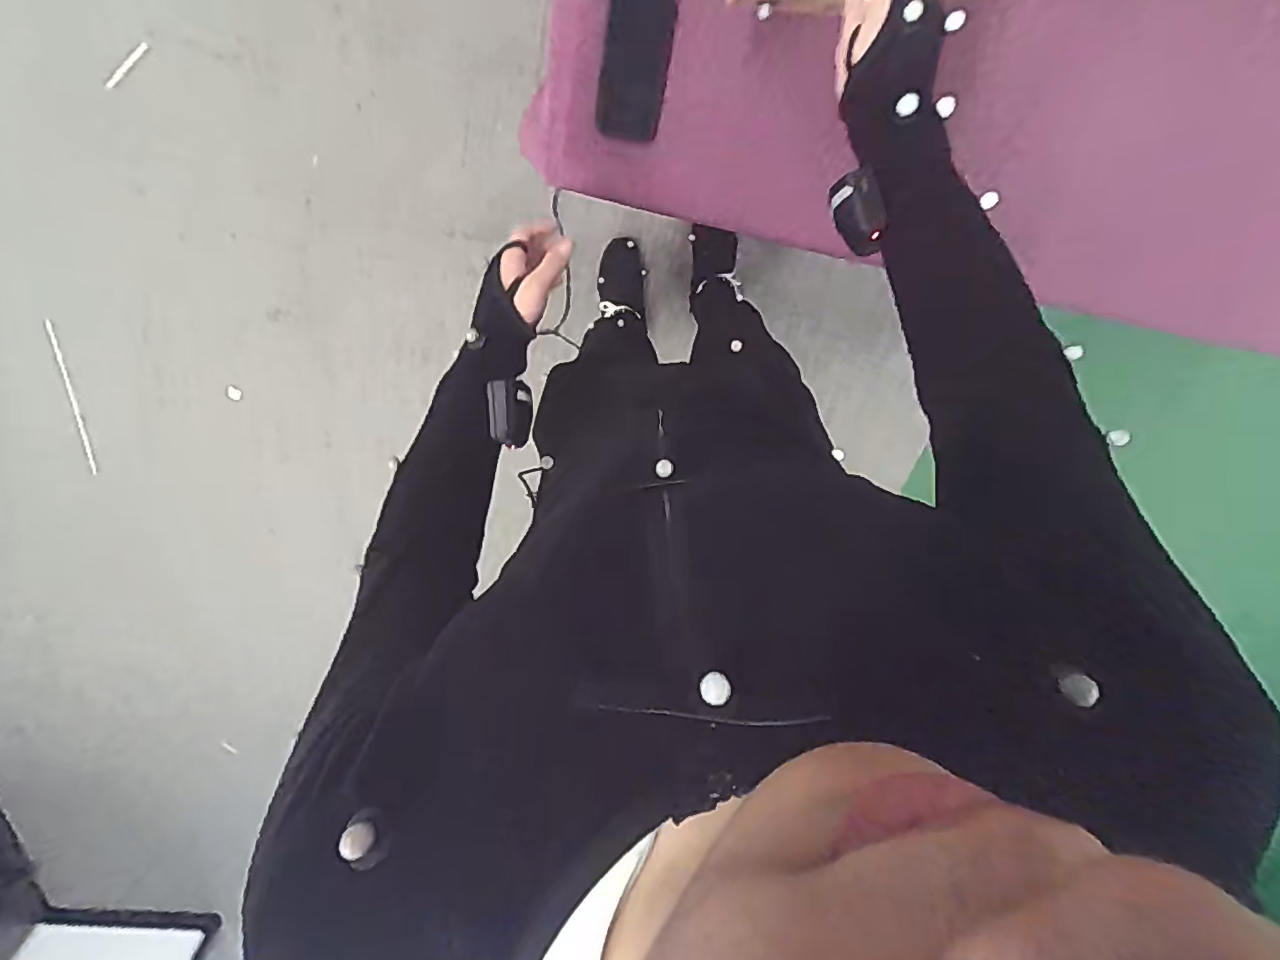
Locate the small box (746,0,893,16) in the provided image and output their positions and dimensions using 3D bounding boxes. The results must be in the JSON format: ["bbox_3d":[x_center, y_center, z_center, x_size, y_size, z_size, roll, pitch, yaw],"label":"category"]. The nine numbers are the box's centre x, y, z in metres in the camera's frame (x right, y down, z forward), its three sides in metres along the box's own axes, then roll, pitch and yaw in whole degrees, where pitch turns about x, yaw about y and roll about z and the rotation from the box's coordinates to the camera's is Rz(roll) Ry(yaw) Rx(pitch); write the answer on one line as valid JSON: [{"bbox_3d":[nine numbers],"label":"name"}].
[{"bbox_3d":[0.177,-0.519,0.448,0.168,0.176,0.179,-3,118,-9],"label":"small box"}]

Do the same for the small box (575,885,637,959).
[{"bbox_3d":[-0.113,1.467,1.767,0.168,0.176,0.179,12,117,-10],"label":"small box"}]
